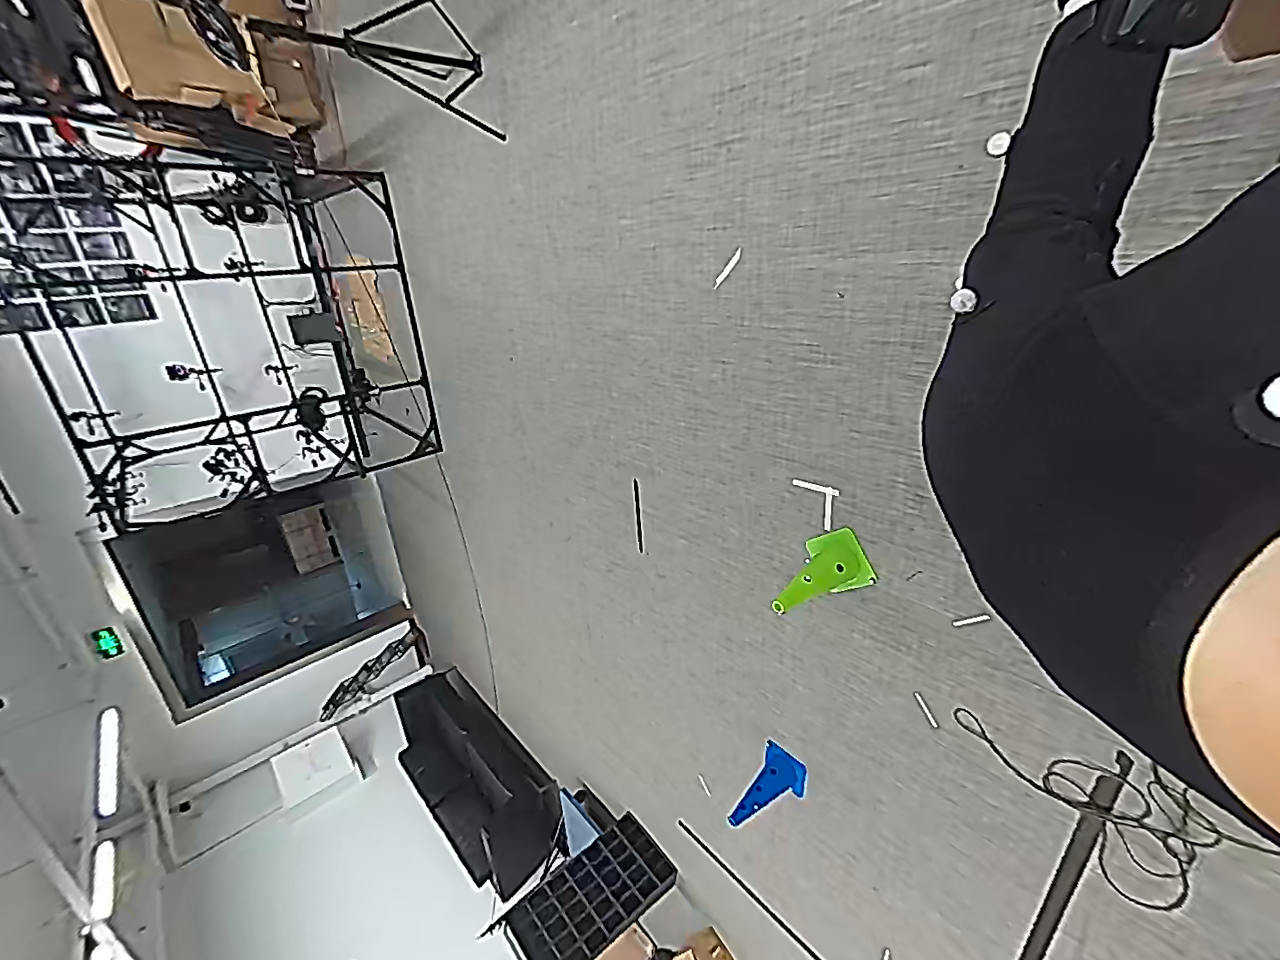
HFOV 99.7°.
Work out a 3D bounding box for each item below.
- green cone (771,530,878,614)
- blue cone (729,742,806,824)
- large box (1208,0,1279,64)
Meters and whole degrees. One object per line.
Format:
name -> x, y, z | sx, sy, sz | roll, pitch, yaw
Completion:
green cone -> 0.543, 0.324, 1.707 | 0.202, 0.368, 0.200 | -36, 77, 54
blue cone -> 0.515, 1.309, 2.264 | 0.192, 0.380, 0.193 | 26, 126, 44
large box -> 0.565, -0.443, 0.227 | 0.408, 0.320, 0.320 | 18, 122, 44
